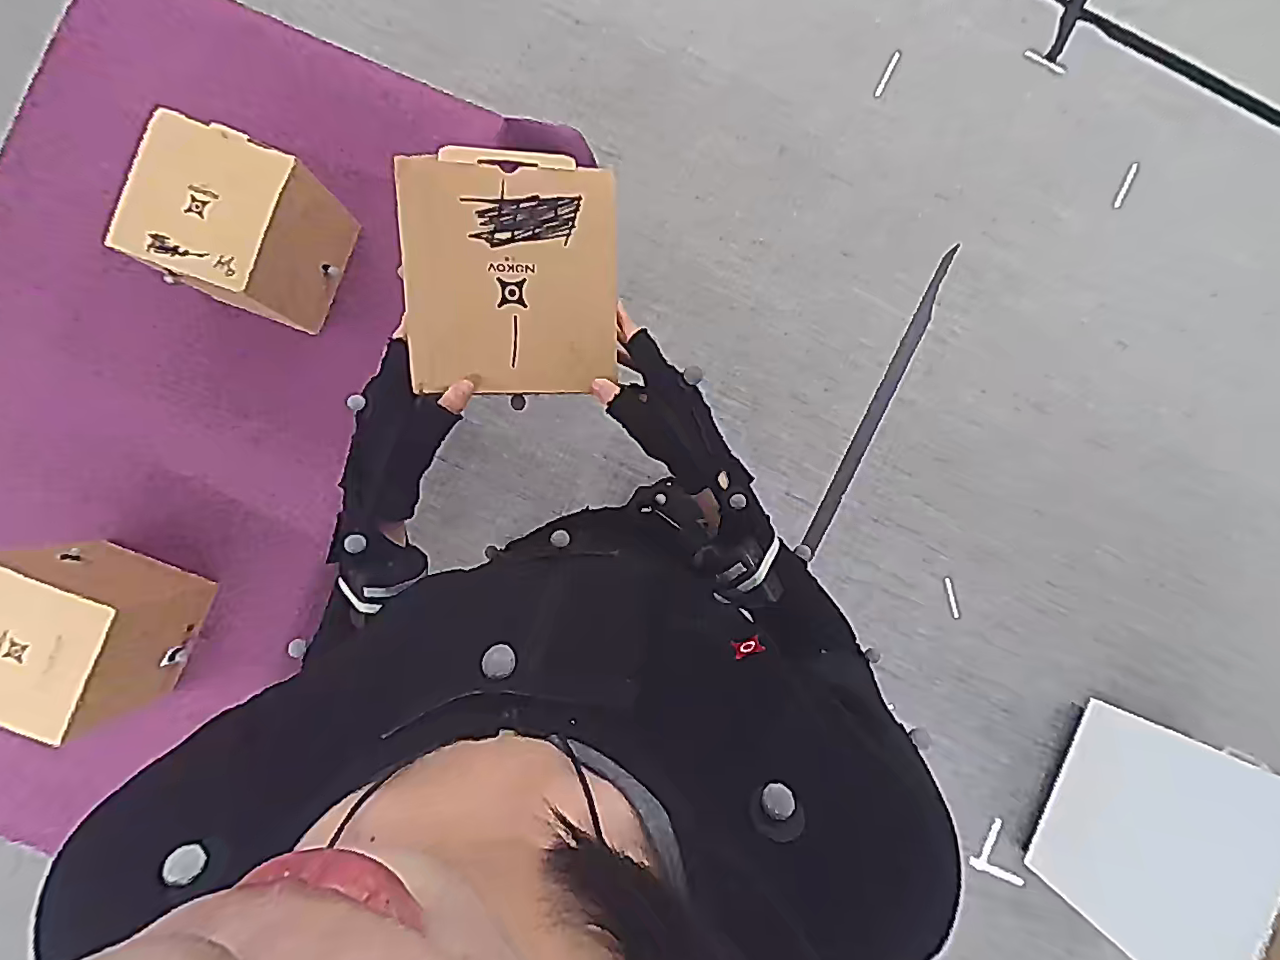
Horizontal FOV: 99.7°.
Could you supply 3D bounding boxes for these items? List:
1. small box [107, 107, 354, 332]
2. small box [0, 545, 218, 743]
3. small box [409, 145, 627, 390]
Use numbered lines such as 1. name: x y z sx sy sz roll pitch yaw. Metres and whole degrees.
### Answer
1. small box: -0.506 -0.320 0.702 0.168 0.176 0.179 20 87 -2
2. small box: -0.696 0.188 0.676 0.179 0.176 0.168 21 88 -3
3. small box: -0.105 -0.174 0.500 0.168 0.176 0.179 -1 99 -9
